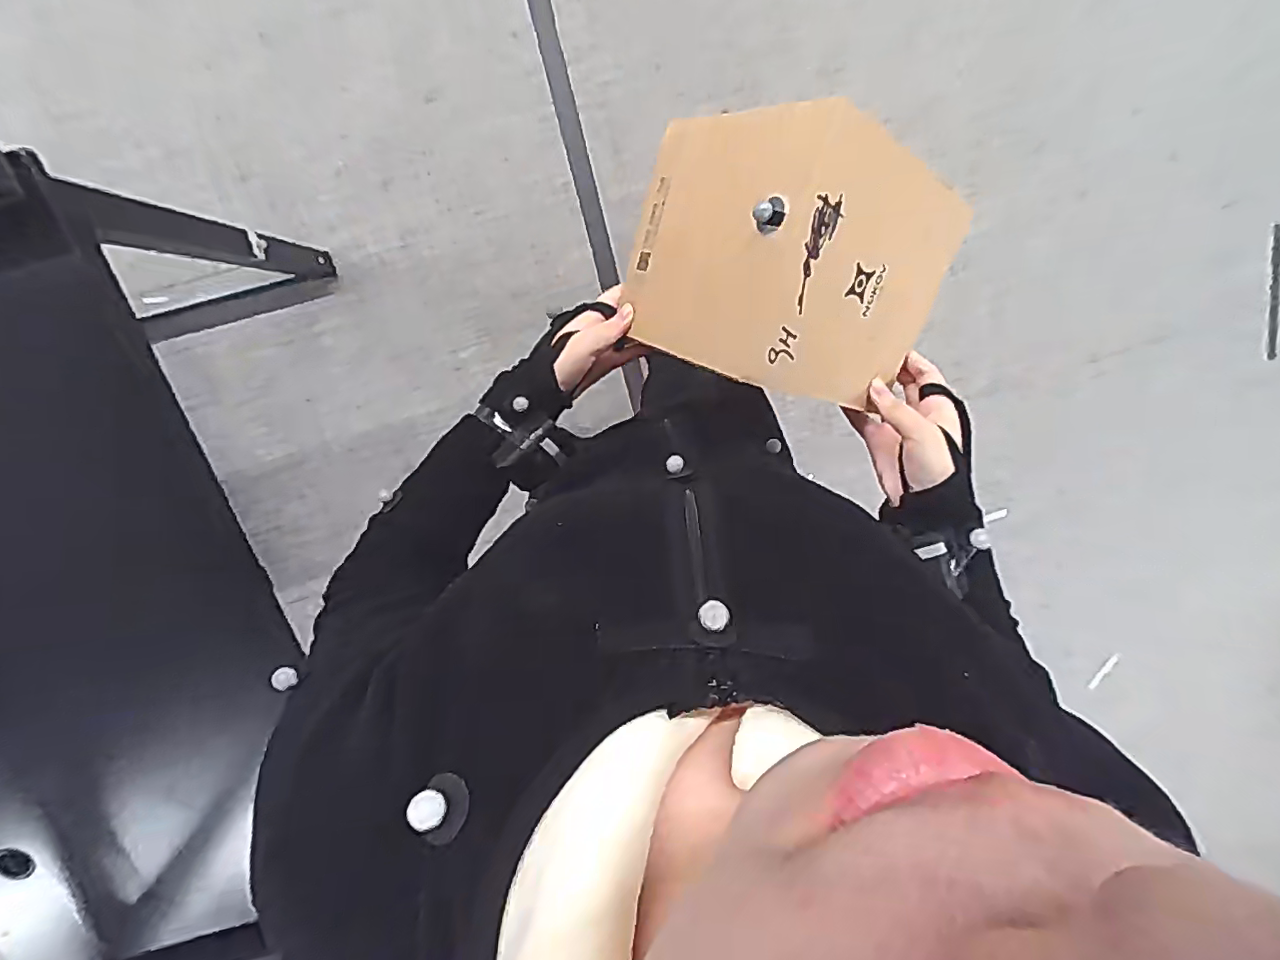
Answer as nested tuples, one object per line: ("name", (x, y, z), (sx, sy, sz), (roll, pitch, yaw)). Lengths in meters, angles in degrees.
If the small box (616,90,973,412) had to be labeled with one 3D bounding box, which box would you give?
("small box", (0.111, -0.165, 0.424), (0.179, 0.176, 0.168), (4, 109, -38))
